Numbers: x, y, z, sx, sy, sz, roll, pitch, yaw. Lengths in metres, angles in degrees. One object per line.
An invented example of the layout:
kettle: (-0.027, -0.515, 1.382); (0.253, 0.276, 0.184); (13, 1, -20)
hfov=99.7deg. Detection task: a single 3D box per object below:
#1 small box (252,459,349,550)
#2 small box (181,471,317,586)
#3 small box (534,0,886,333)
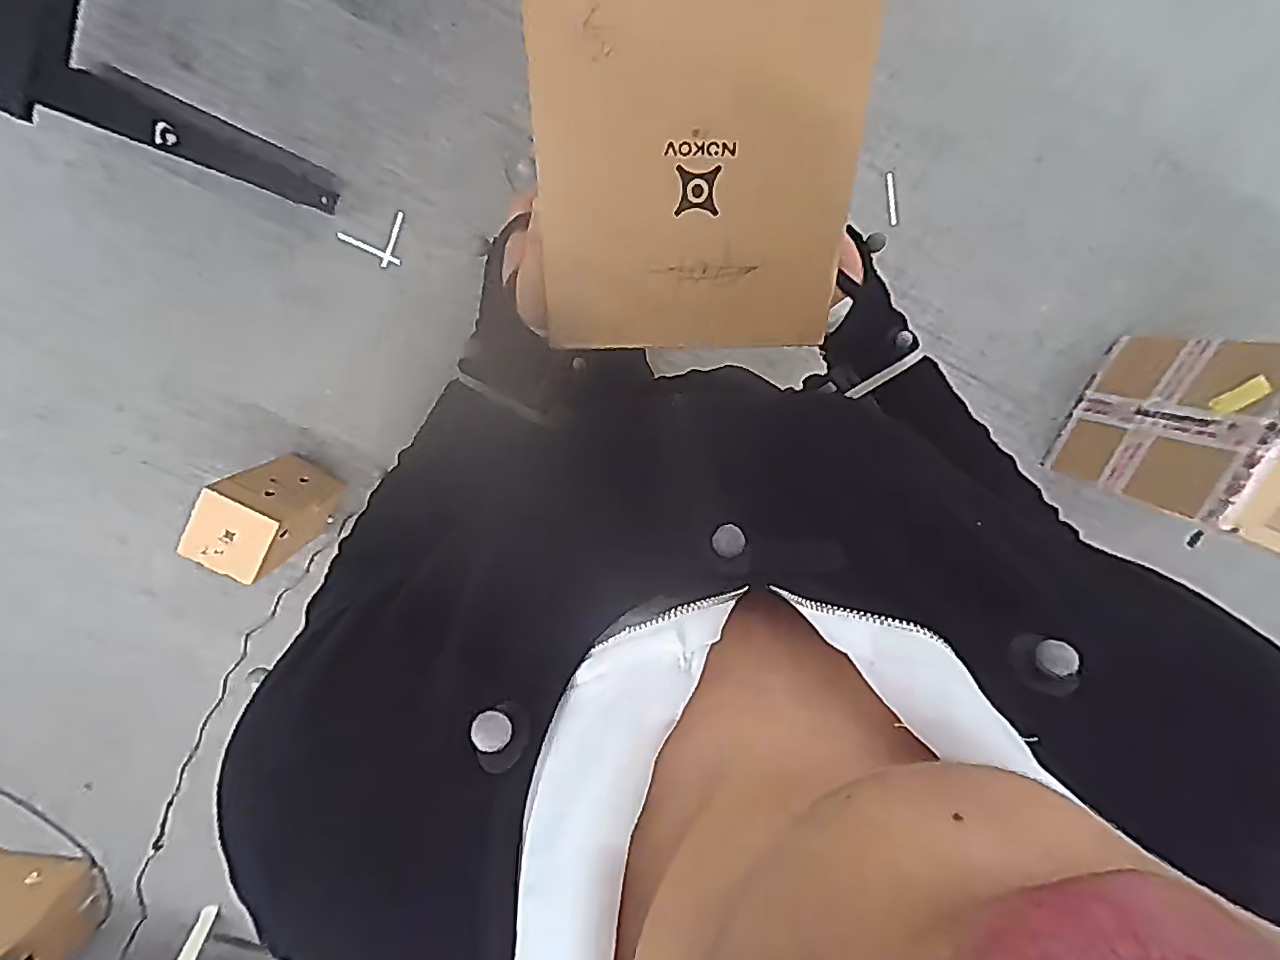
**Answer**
small box: (-0.899, 0.062, 1.396); (0.179, 0.176, 0.168); (32, 102, -12)
small box: (-0.881, 0.102, 1.237); (0.168, 0.176, 0.179); (30, 103, -10)
small box: (0.026, -0.204, 0.347); (0.168, 0.176, 0.179); (-1, 122, -3)
